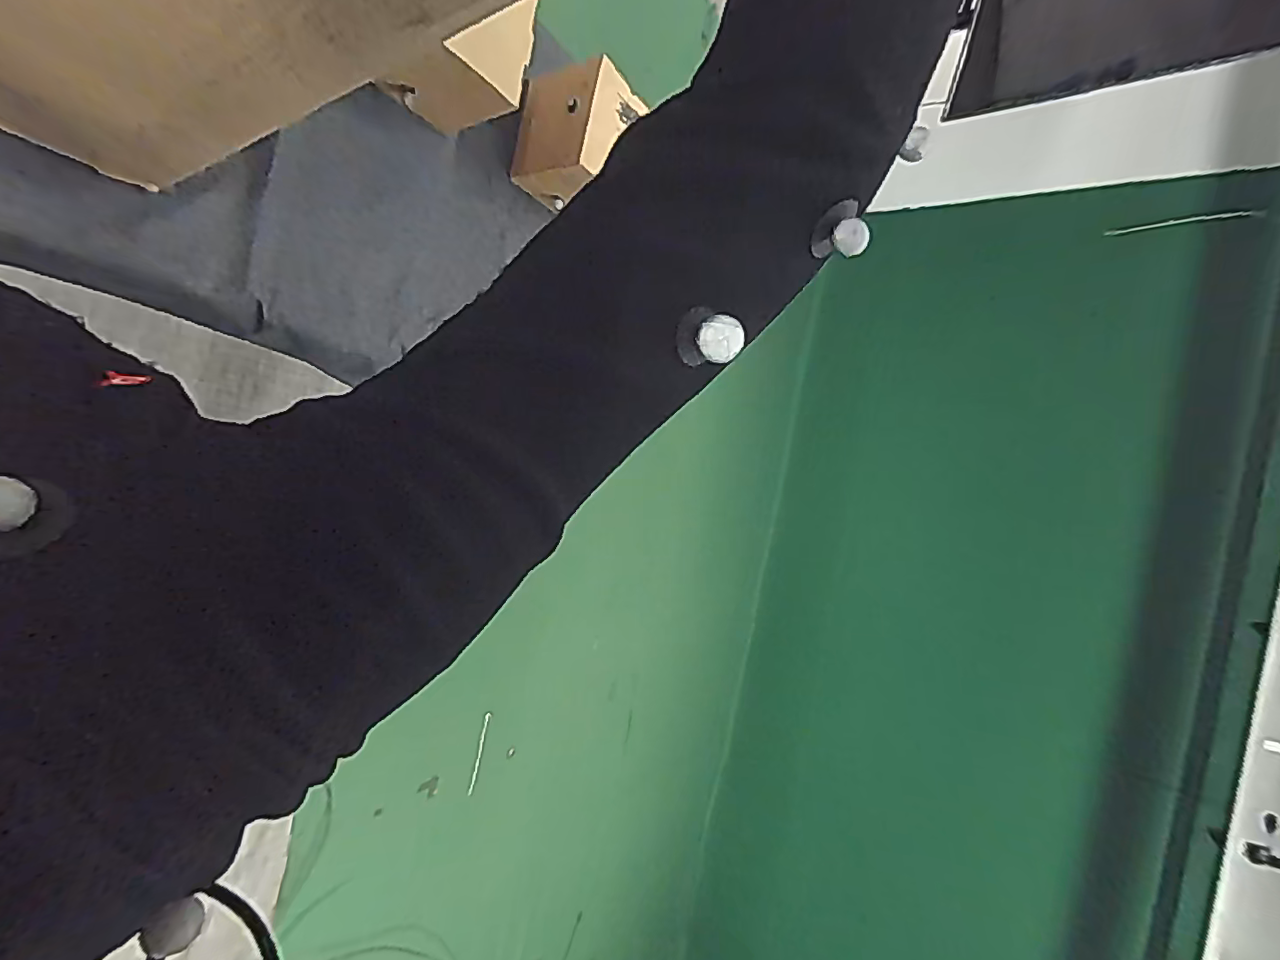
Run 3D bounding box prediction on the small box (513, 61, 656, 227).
[{"bbox_3d":[-0.099,-0.573,0.948,0.168,0.176,0.179,12,90,-55],"label":"small box"}]
